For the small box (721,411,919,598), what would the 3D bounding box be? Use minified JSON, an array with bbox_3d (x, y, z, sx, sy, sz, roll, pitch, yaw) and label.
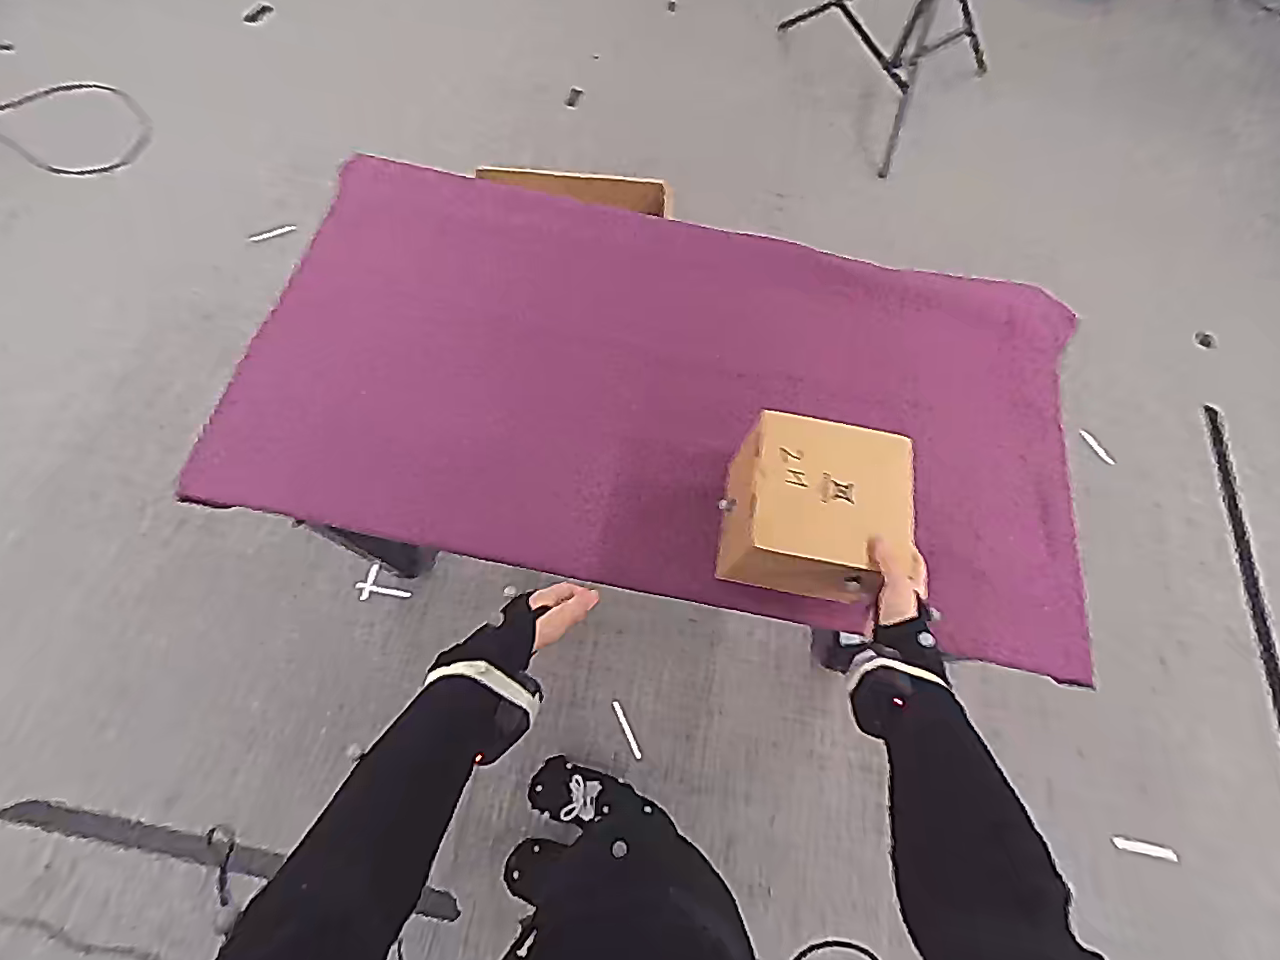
[{"bbox_3d":[0.209,0.041,0.657,0.179,0.176,0.168,11,68,0],"label":"small box"}]
